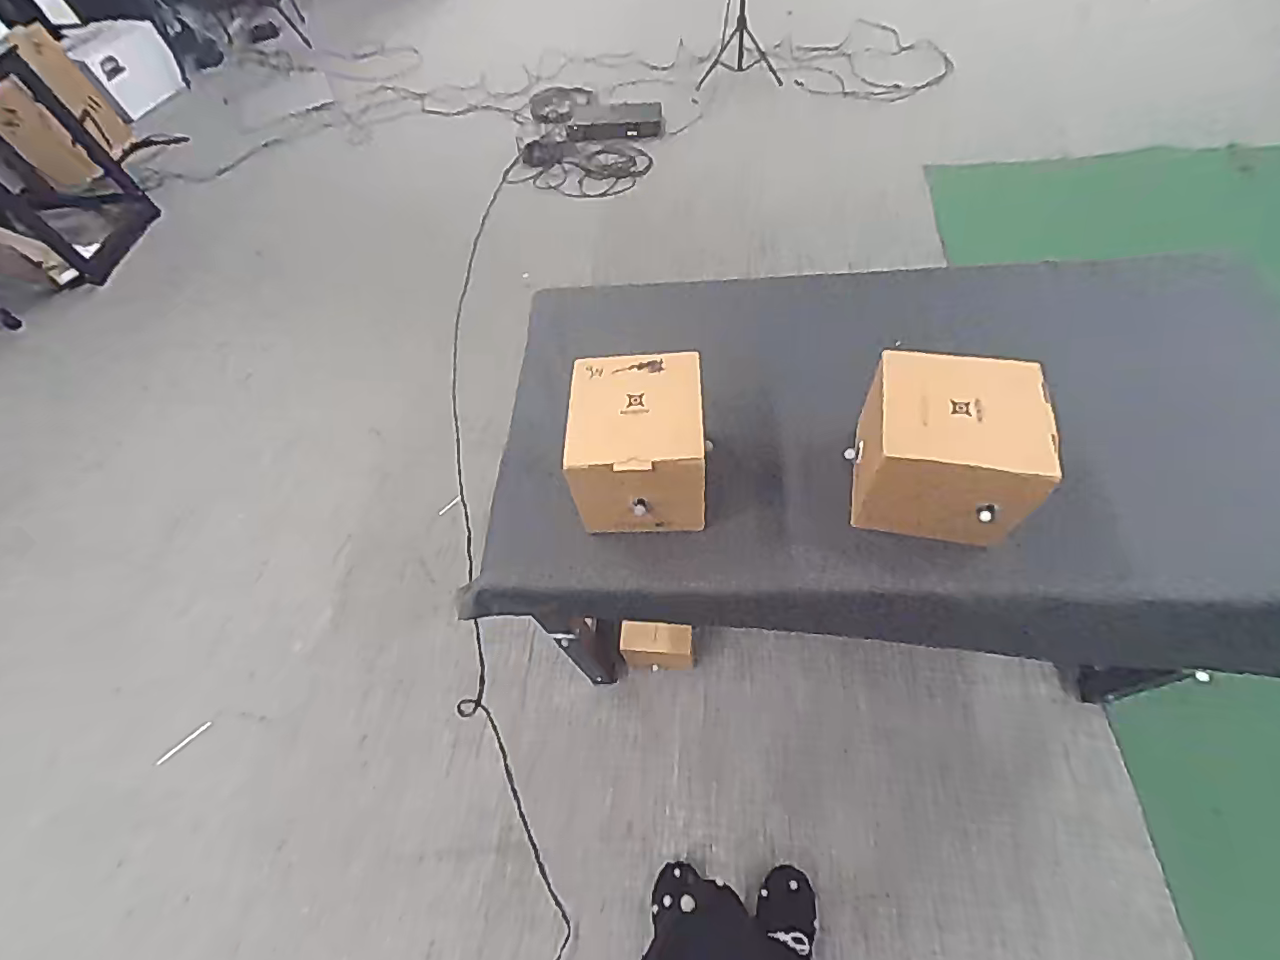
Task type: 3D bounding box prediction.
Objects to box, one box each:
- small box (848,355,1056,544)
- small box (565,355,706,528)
[{"bbox_3d":[0.375,-0.034,0.685,0.179,0.176,0.168,7,57,13],"label":"small box"},{"bbox_3d":[0.003,-0.044,0.732,0.168,0.176,0.179,-2,57,5],"label":"small box"}]
